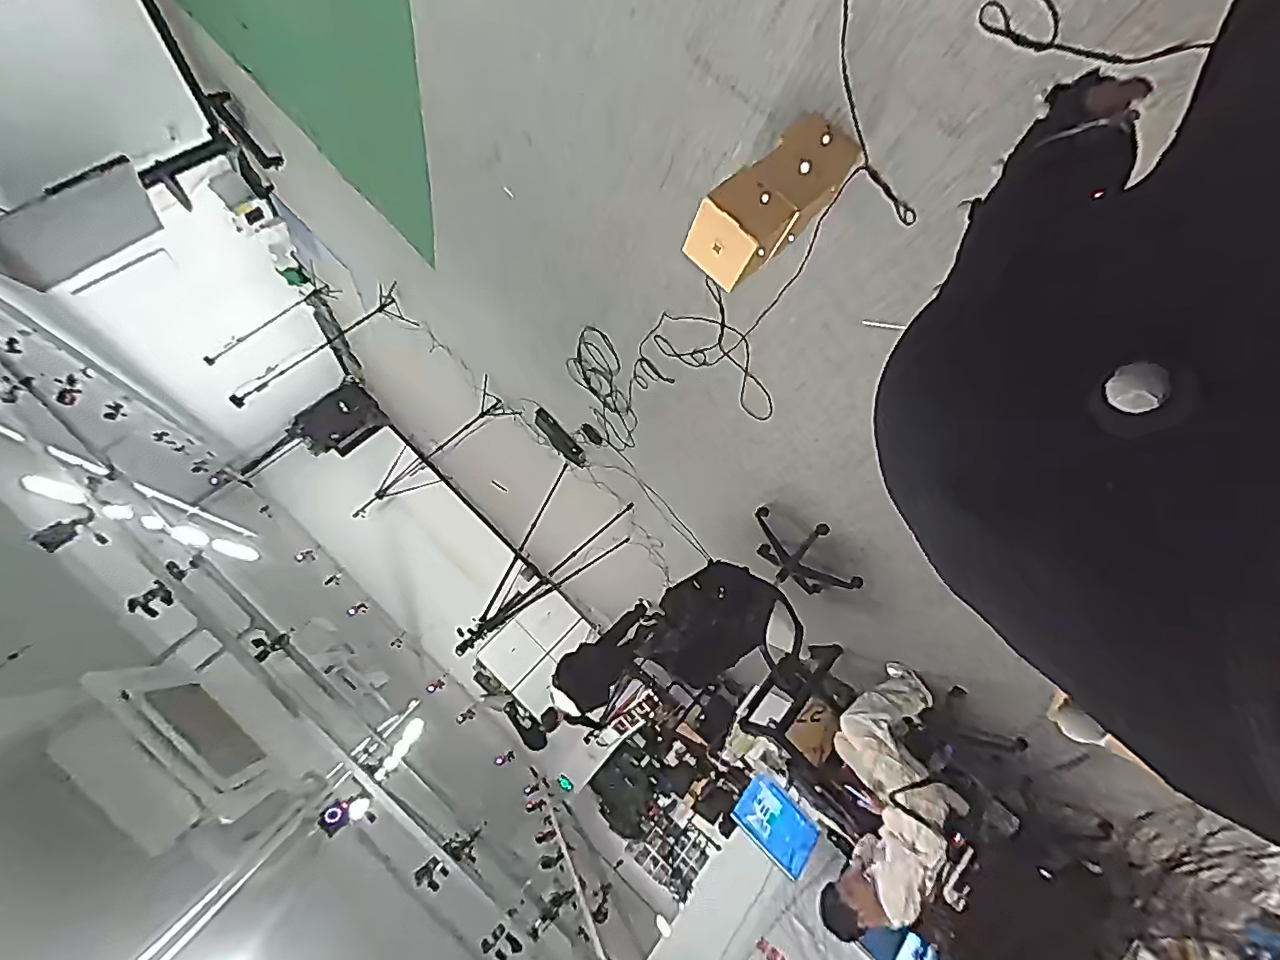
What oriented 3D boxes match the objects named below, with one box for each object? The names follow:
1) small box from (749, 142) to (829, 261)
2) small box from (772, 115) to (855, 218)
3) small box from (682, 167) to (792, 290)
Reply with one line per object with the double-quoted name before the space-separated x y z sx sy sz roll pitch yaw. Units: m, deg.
"small box" 0.346 -0.707 1.376 0.168 0.176 0.179 44 157 3
"small box" 0.440 -0.825 1.442 0.168 0.176 0.179 43 158 7
"small box" 0.235 -0.607 1.310 0.168 0.176 0.179 44 157 4
